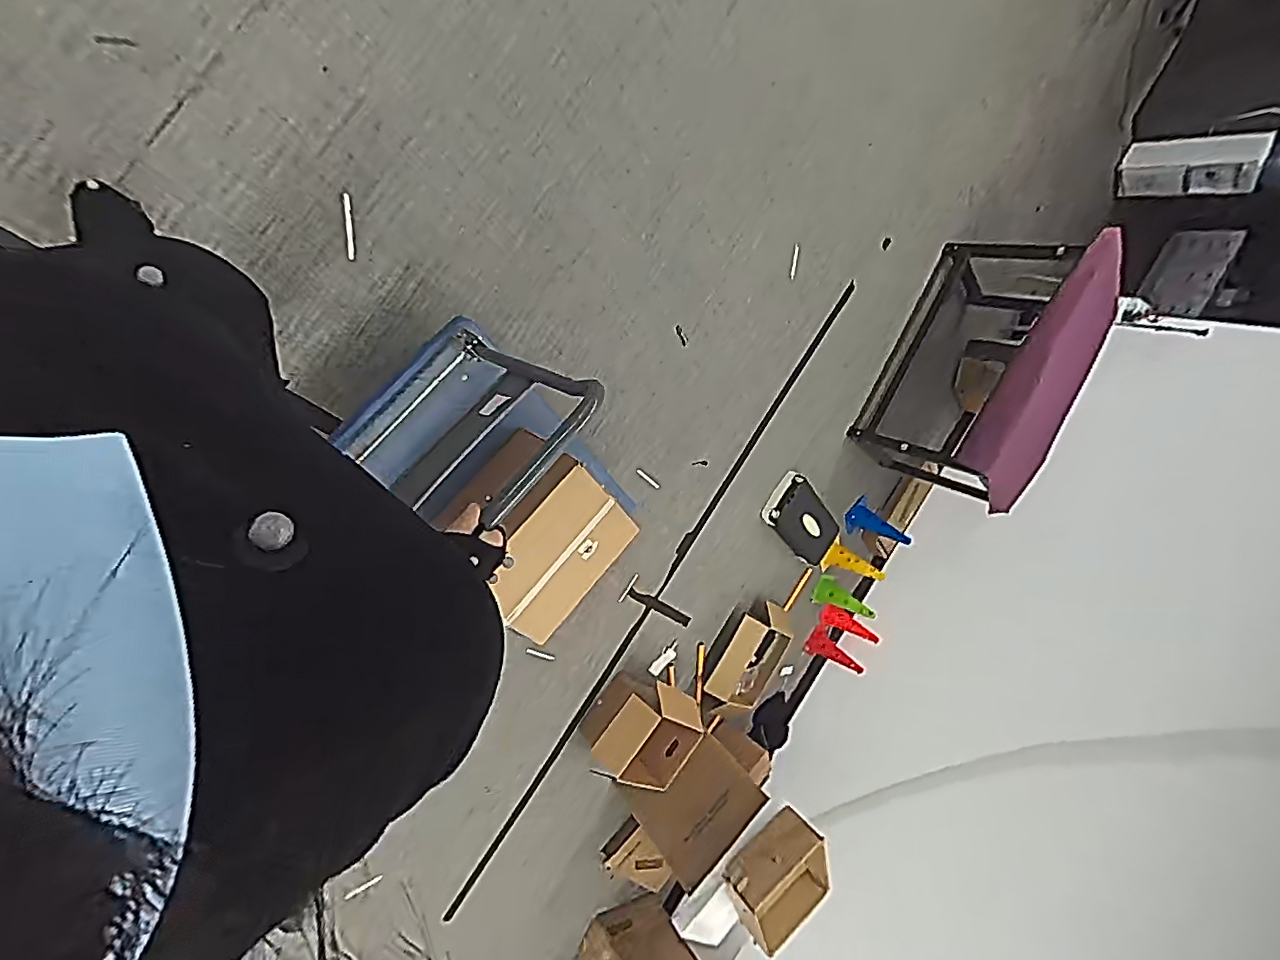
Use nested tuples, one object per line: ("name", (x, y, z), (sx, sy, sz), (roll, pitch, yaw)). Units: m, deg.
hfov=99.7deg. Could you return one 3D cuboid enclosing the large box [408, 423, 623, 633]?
("large box", (-0.330, 0.118, 1.447), (0.408, 0.320, 0.320), (-50, 134, -12))
